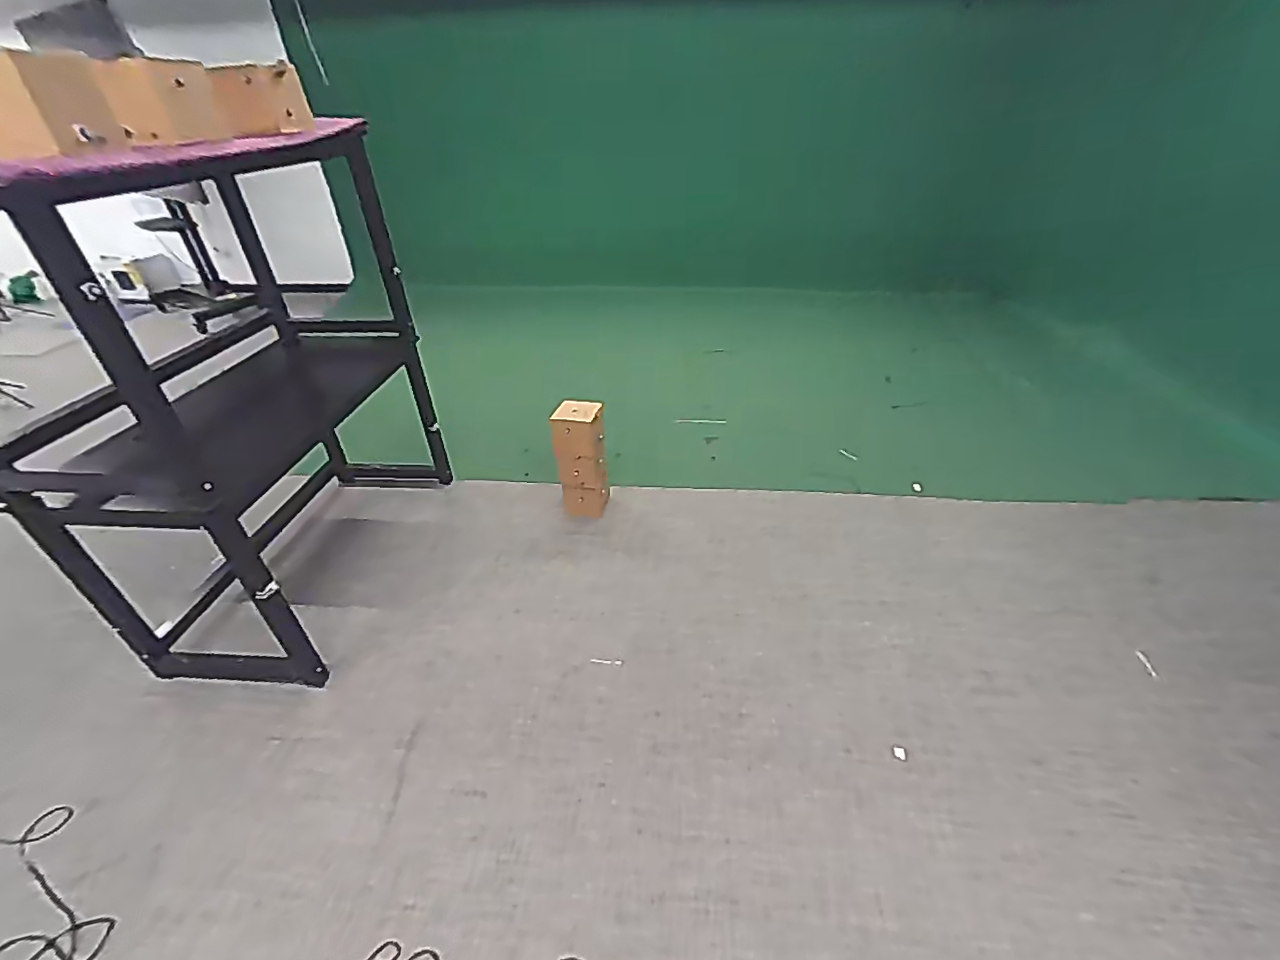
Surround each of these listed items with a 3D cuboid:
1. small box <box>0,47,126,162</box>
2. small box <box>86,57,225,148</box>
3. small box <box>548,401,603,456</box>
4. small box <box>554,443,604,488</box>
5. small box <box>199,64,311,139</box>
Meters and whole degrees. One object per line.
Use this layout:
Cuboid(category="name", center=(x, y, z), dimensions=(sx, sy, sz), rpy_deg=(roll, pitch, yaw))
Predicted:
Cuboid(category="small box", center=(-1.162, -0.708, 1.027), dimensions=(0.179, 0.176, 0.168), rpy_deg=(1, 36, 1))
Cuboid(category="small box", center=(-1.170, -0.911, 1.314), dimensions=(0.168, 0.176, 0.179), rpy_deg=(1, 35, 6))
Cuboid(category="small box", center=(-0.264, -0.212, 2.244), dimensions=(0.179, 0.176, 0.168), rpy_deg=(7, 36, 13))
Cuboid(category="small box", center=(-0.258, -0.084, 2.350), dimensions=(0.168, 0.176, 0.179), rpy_deg=(5, 36, 11))
Cuboid(category="small box", center=(-1.133, -1.119, 1.605), dimensions=(0.179, 0.176, 0.168), rpy_deg=(2, 37, 8))
